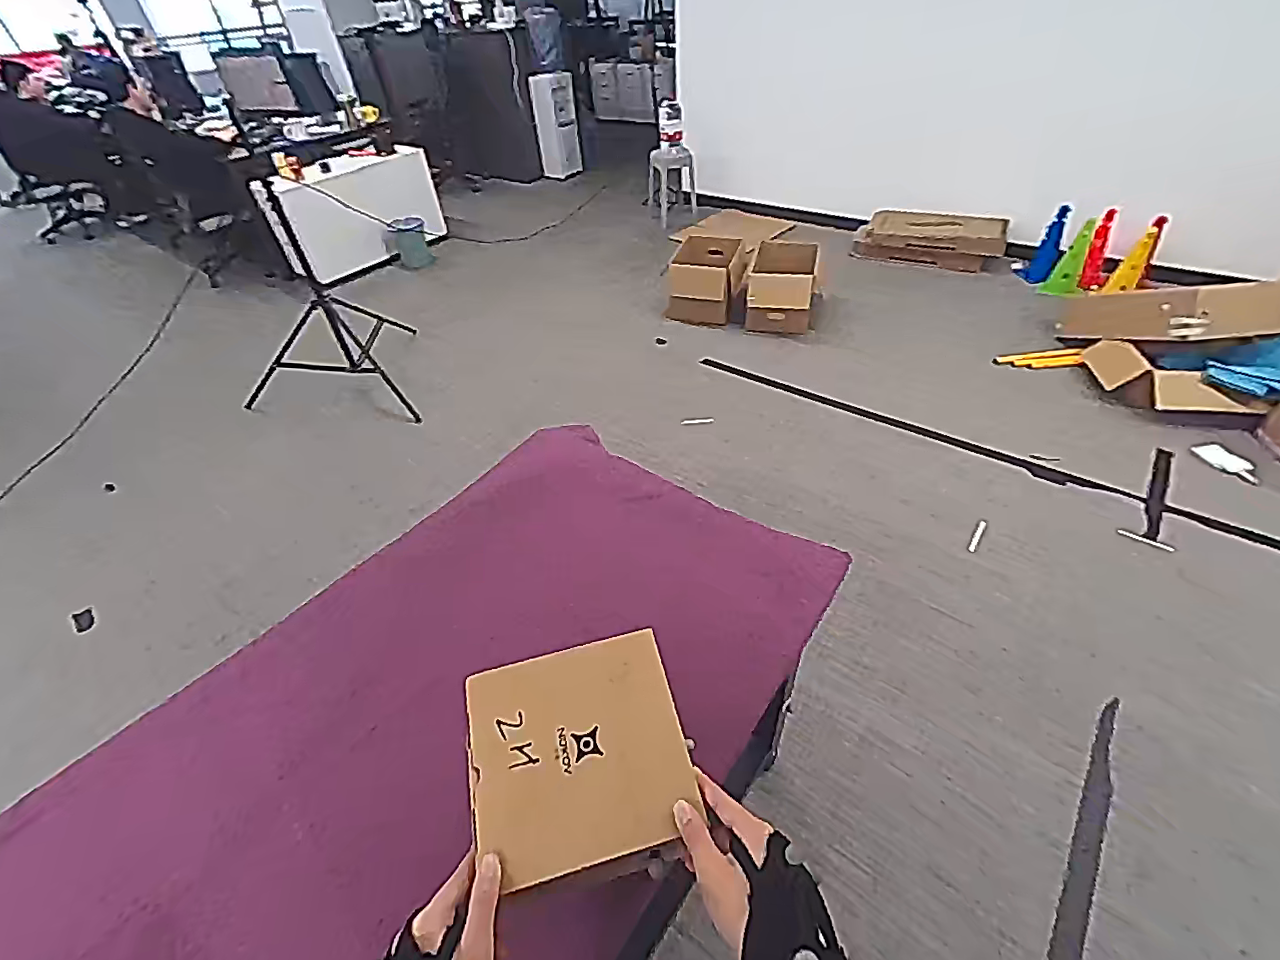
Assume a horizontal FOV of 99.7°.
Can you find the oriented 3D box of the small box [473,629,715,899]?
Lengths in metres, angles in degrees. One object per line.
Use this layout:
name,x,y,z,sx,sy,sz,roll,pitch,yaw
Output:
small box,-0.043,0.265,0.504,0.179,0.176,0.168,-13,51,-7
